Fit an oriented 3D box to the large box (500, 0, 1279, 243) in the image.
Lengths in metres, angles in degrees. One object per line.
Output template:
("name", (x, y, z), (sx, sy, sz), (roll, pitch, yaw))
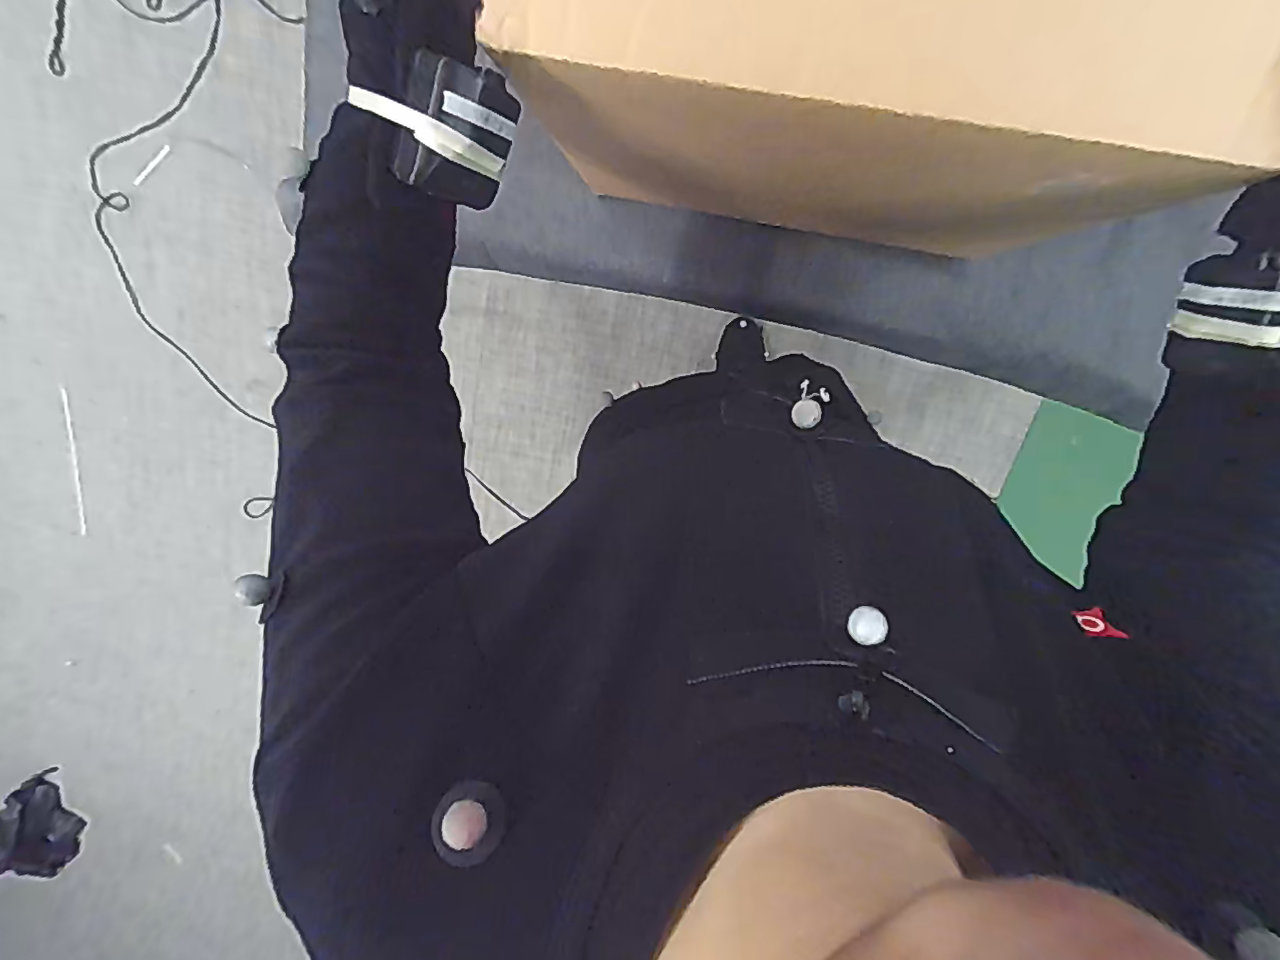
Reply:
("large box", (0.153, -0.377, 0.374), (0.408, 0.320, 0.320), (10, 107, 2))
